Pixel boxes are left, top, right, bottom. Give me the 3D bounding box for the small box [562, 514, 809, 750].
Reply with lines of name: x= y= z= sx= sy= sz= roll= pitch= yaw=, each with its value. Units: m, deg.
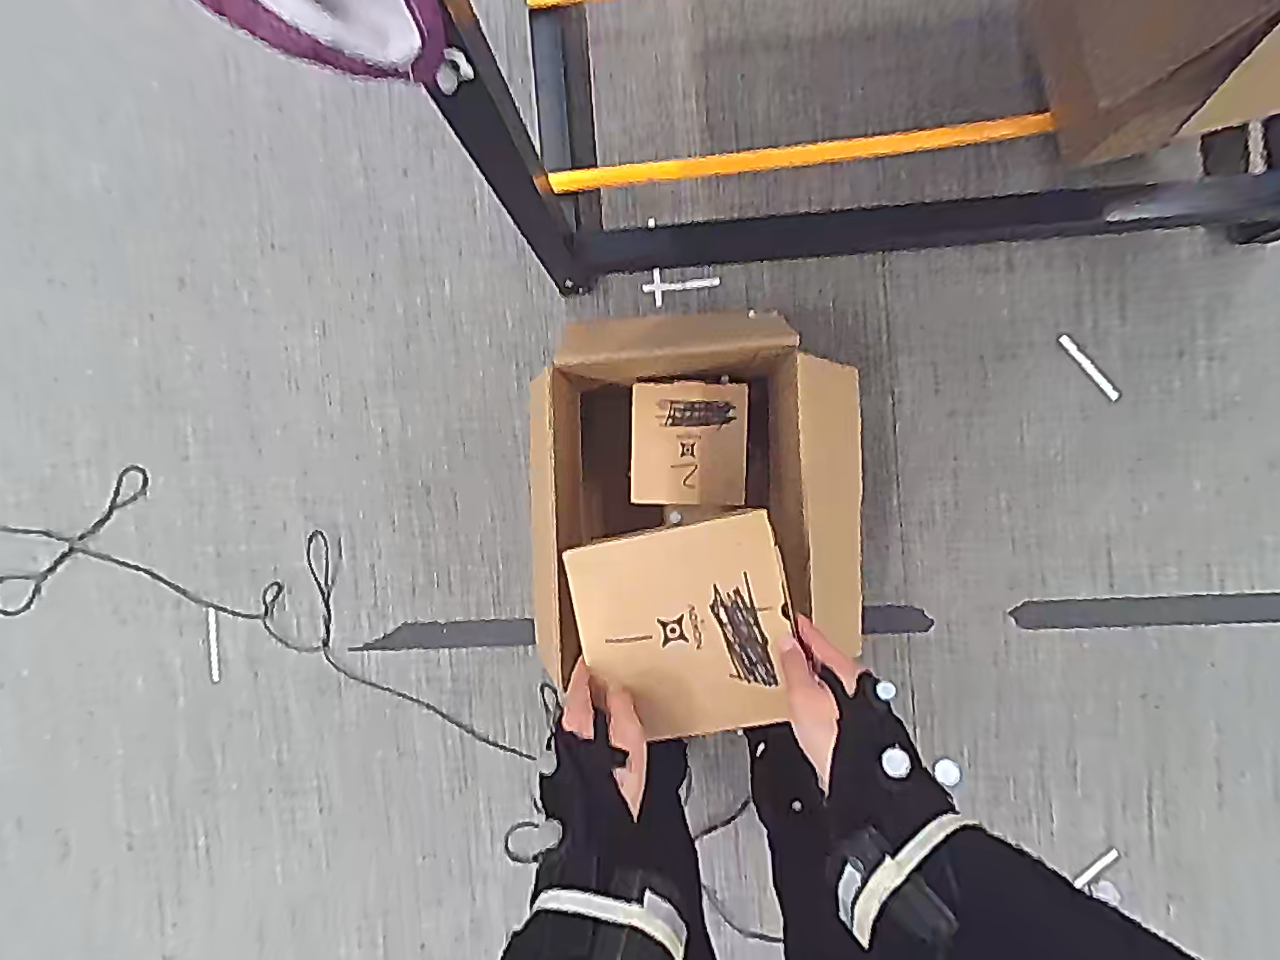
small box: x=0.041 y=0.128 z=0.520 sx=0.179 sy=0.176 sz=0.168 roll=-13 pitch=85 yaw=5
